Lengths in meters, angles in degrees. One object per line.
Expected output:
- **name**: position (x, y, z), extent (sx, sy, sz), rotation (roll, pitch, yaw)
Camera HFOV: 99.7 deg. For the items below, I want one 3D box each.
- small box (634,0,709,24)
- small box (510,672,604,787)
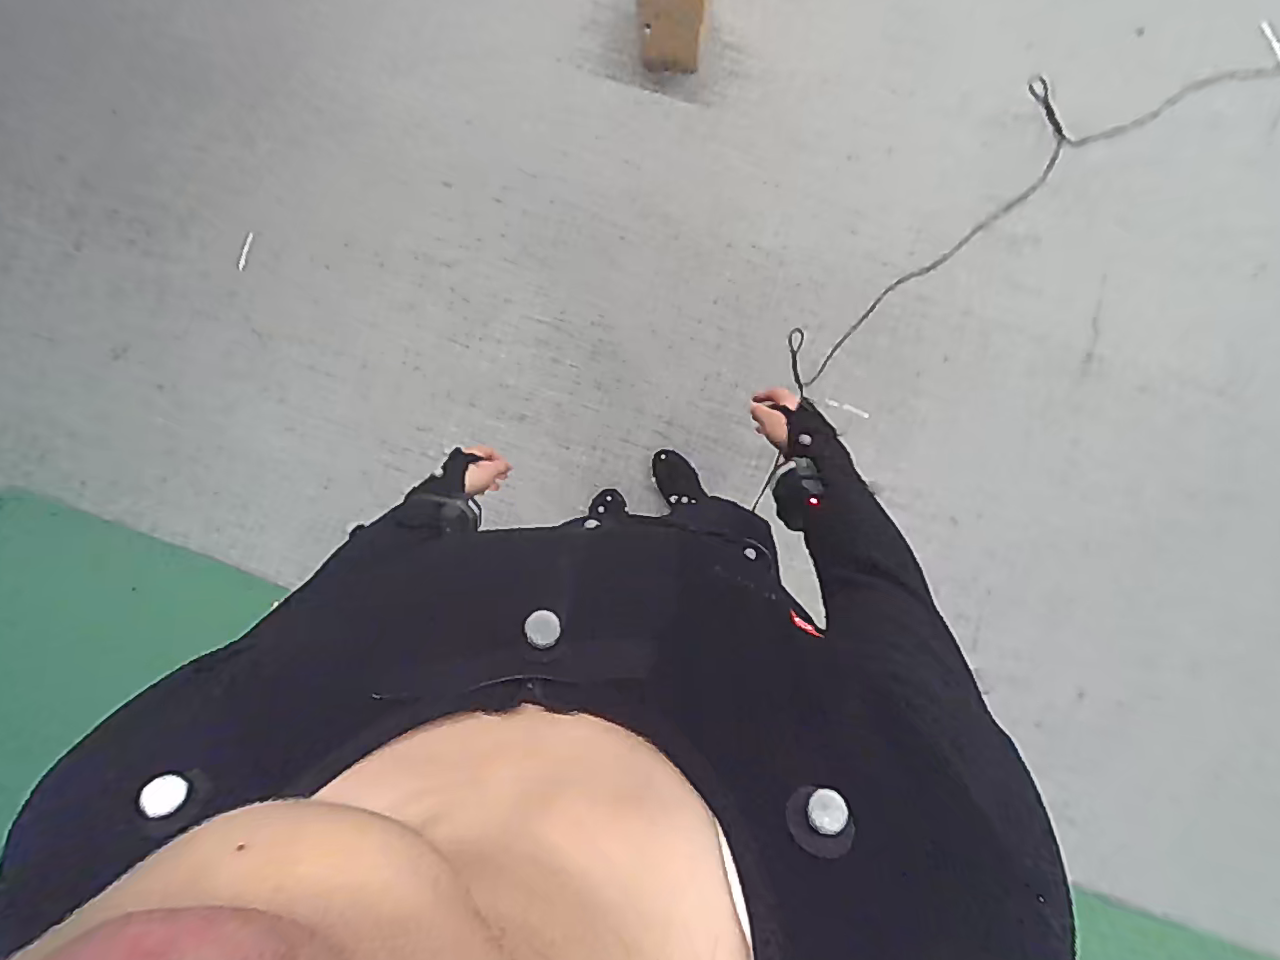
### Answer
- **small box**: position (0.083, -1.193, 1.227), extent (0.179, 0.176, 0.168), rotation (17, 92, 2)
- **small box**: position (-0.200, 0.620, 1.364), extent (0.168, 0.176, 0.179), rotation (25, 91, 2)
